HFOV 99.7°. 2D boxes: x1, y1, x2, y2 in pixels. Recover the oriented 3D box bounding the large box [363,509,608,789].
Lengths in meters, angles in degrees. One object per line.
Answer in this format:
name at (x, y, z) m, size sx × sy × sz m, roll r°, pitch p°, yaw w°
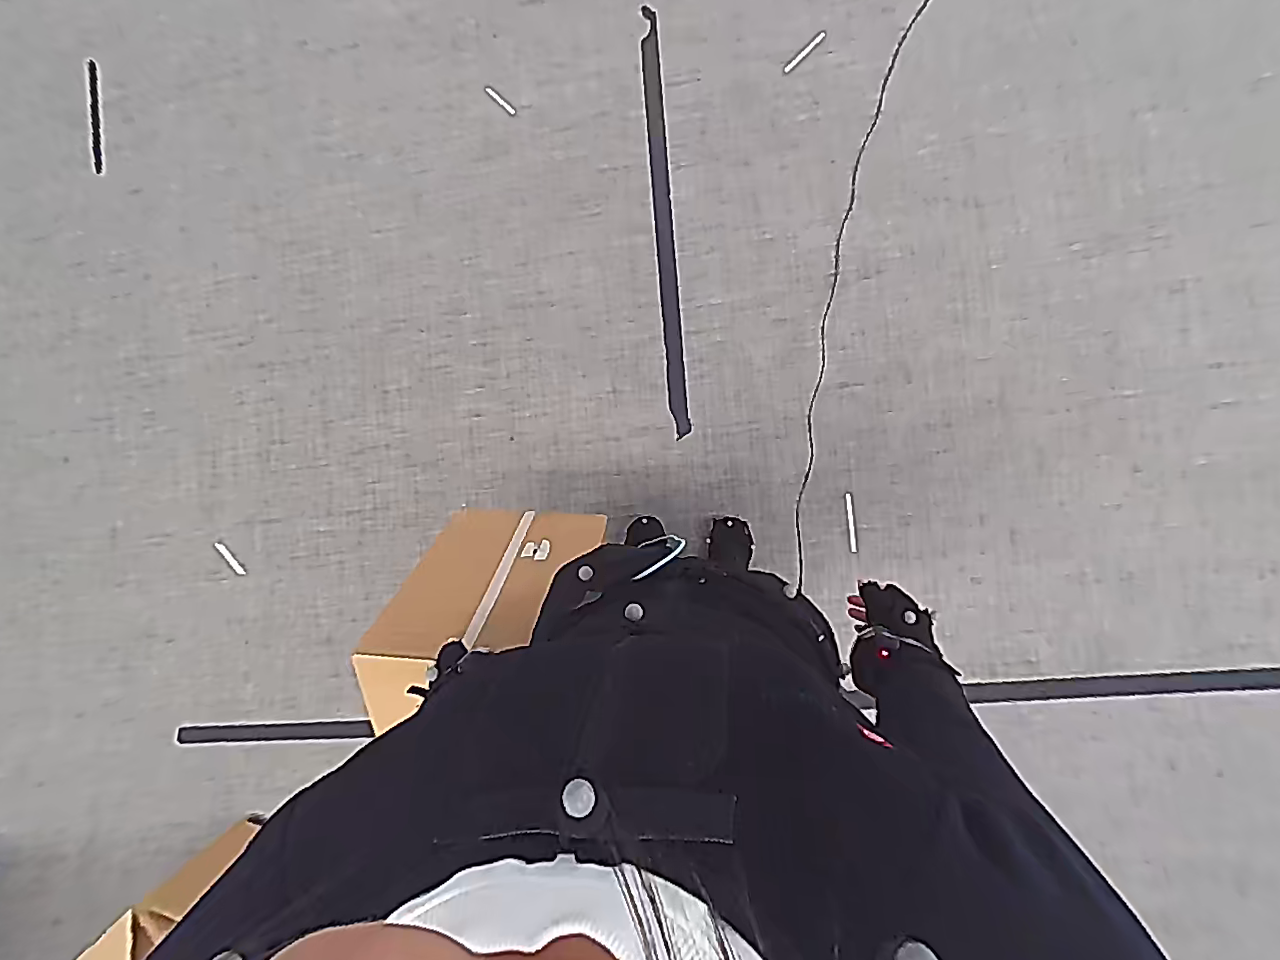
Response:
large box at (-0.240, 0.293, 1.012) m, size 0.320 × 0.408 × 0.320 m, roll 4°, pitch 118°, yaw 4°
